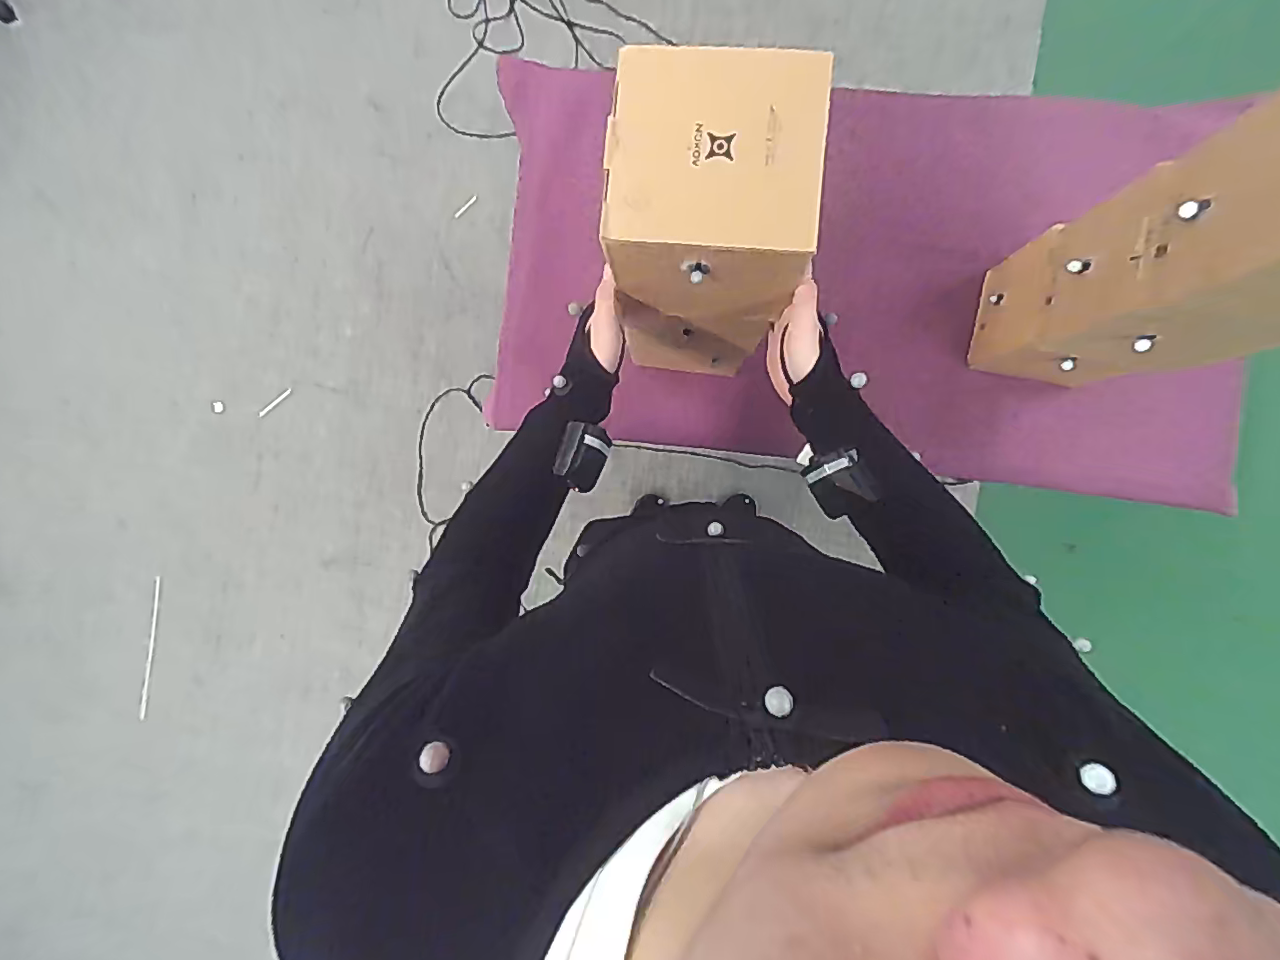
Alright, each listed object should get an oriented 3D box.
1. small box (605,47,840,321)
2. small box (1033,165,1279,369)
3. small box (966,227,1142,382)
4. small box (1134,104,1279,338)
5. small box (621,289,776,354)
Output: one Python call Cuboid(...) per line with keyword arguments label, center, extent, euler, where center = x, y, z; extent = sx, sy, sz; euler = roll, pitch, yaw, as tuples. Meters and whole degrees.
Cuboid(label="small box", center=(0.071, -0.261, 0.514), extent=(0.179, 0.176, 0.168), euler=(6, 88, 4))
Cuboid(label="small box", center=(0.627, -0.242, 0.655), extent=(0.179, 0.176, 0.168), euler=(12, 91, 5))
Cuboid(label="small box", center=(0.639, -0.252, 0.819), extent=(0.179, 0.176, 0.168), euler=(12, 90, 4))
Cuboid(label="small box", center=(0.620, -0.239, 0.490), extent=(0.179, 0.176, 0.168), euler=(12, 90, 4))
Cuboid(label="small box", center=(0.077, -0.264, 0.683), extent=(0.179, 0.176, 0.168), euler=(7, 90, 3))
